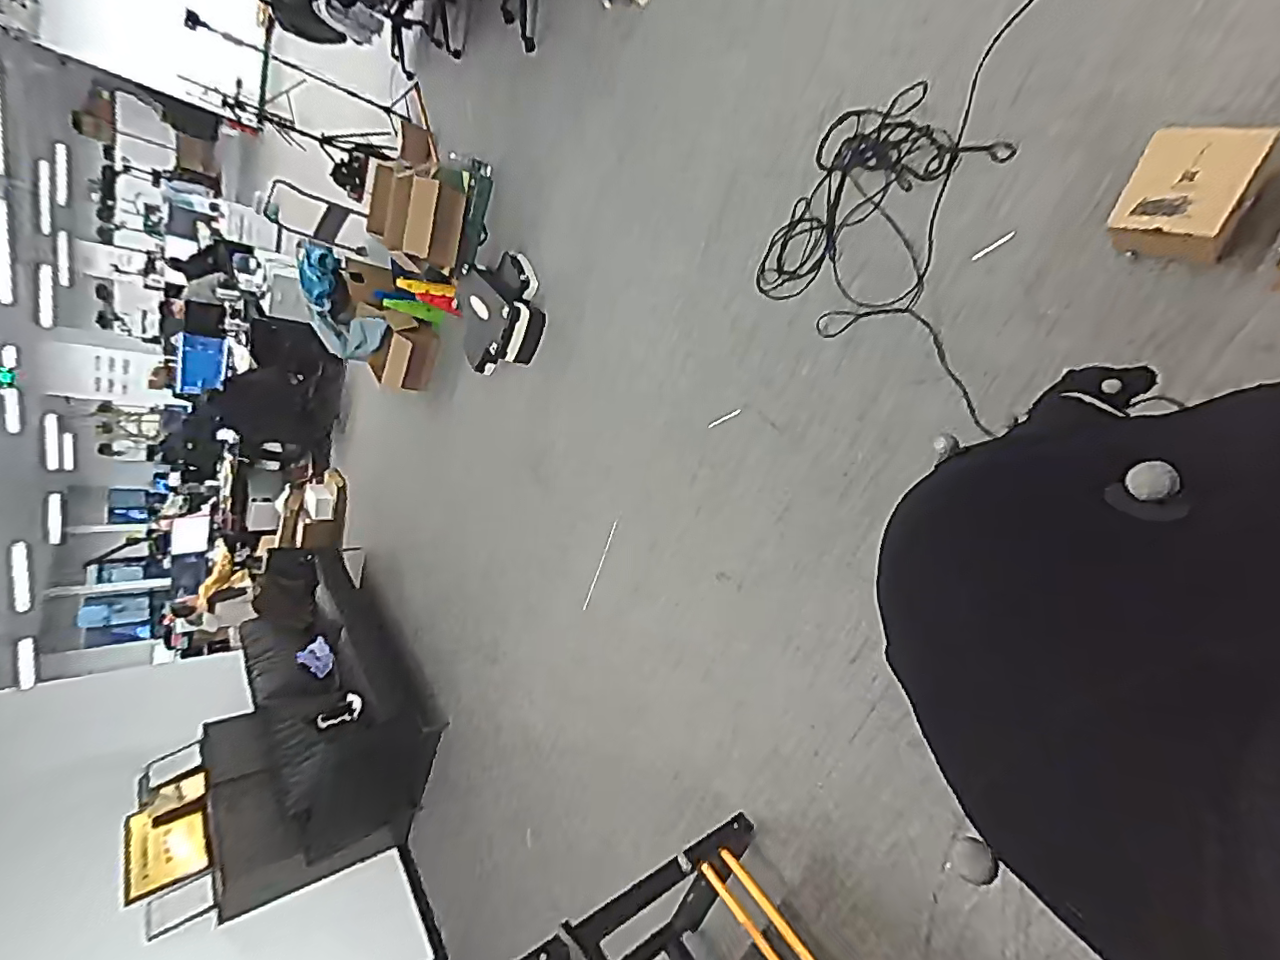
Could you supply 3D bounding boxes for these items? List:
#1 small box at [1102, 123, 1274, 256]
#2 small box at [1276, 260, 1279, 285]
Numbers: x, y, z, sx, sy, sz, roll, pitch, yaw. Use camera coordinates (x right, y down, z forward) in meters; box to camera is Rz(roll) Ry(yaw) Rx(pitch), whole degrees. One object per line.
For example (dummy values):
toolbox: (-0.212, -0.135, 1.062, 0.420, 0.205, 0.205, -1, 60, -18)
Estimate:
small box: (1.027, -0.540, 1.019, 0.168, 0.176, 0.179, 35, 114, 41)
small box: (1.176, -0.404, 0.862, 0.168, 0.176, 0.179, 31, 113, 42)
